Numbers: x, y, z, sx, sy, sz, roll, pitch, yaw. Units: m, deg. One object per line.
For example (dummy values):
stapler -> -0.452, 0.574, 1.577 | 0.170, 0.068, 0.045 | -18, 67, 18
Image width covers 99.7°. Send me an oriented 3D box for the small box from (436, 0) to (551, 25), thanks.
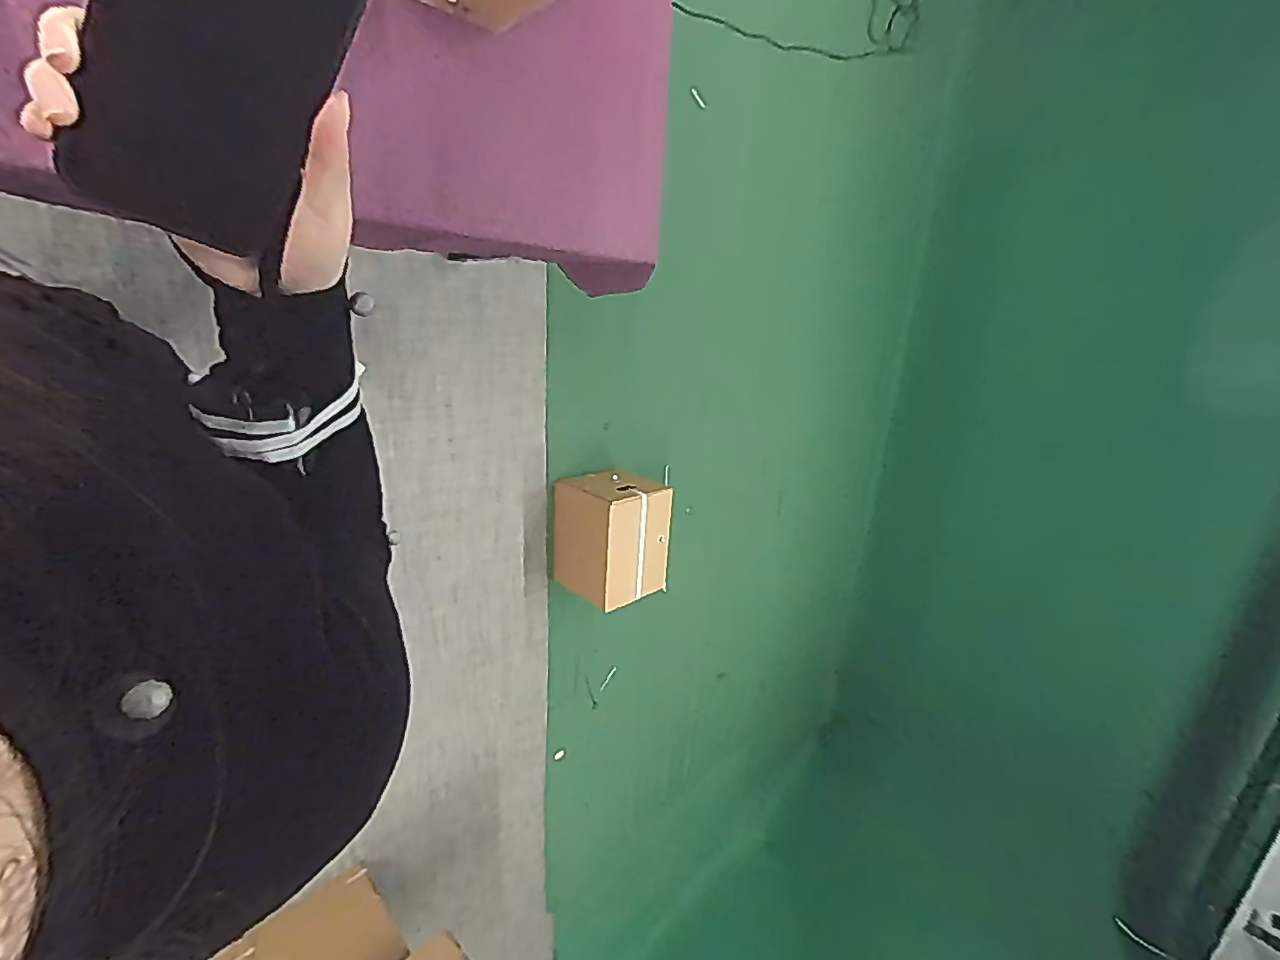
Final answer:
small box -> -0.186, -0.666, 0.607 | 0.168, 0.176, 0.179 | -15, 116, -43
